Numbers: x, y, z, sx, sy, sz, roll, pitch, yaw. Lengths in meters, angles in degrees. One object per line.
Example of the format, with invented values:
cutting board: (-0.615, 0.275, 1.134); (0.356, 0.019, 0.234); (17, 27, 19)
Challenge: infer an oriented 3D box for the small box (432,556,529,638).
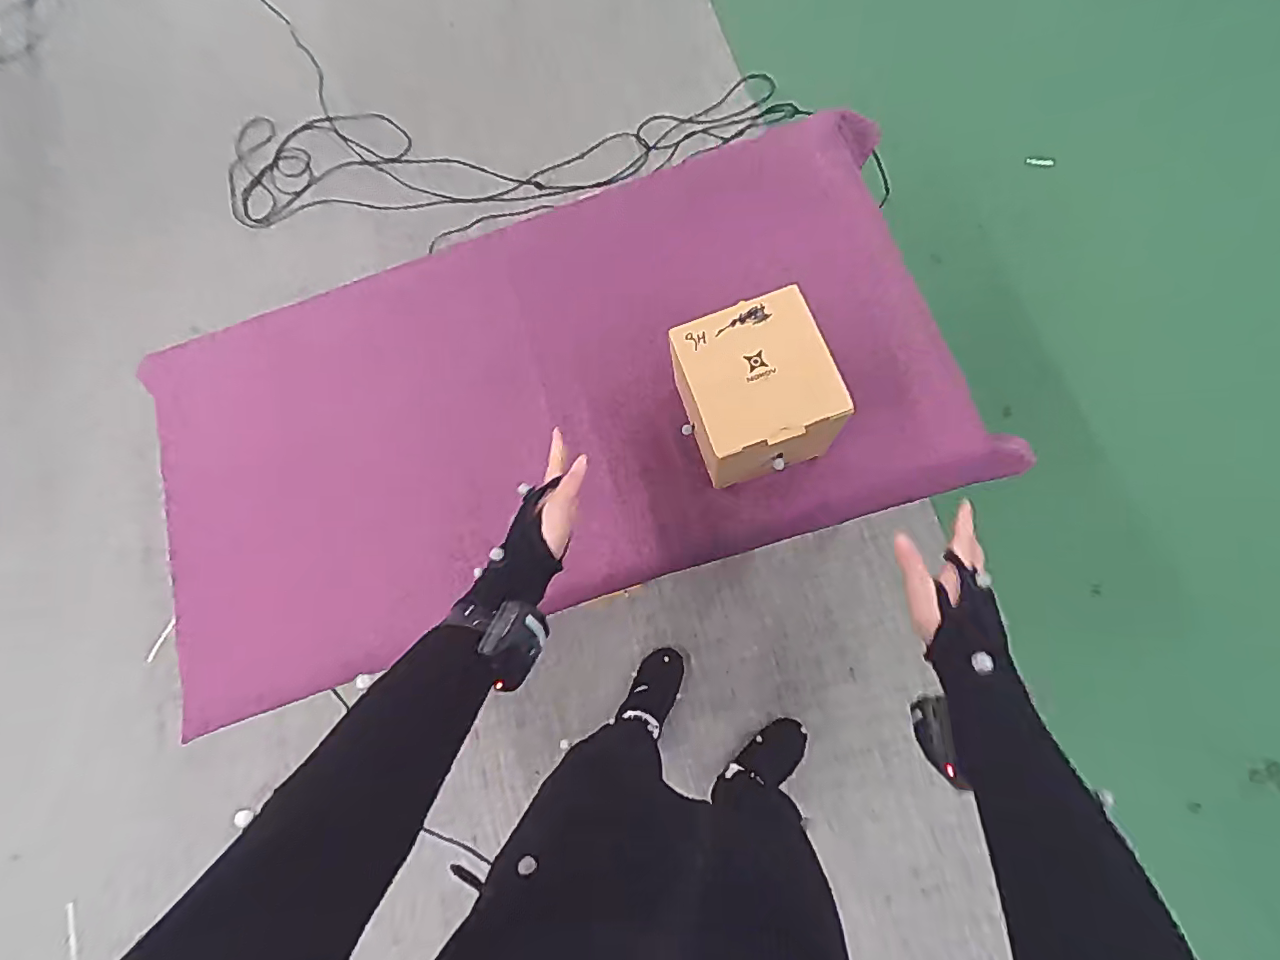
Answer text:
small box: (-0.415, 0.311, 1.426); (0.179, 0.176, 0.168); (-19, 76, 2)

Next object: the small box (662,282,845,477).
small box: (0.139, -0.113, 0.700); (0.168, 0.176, 0.179); (-19, 75, 3)

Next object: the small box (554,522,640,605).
small box: (-0.103, 0.221, 1.406); (0.179, 0.176, 0.168); (-18, 75, 4)
